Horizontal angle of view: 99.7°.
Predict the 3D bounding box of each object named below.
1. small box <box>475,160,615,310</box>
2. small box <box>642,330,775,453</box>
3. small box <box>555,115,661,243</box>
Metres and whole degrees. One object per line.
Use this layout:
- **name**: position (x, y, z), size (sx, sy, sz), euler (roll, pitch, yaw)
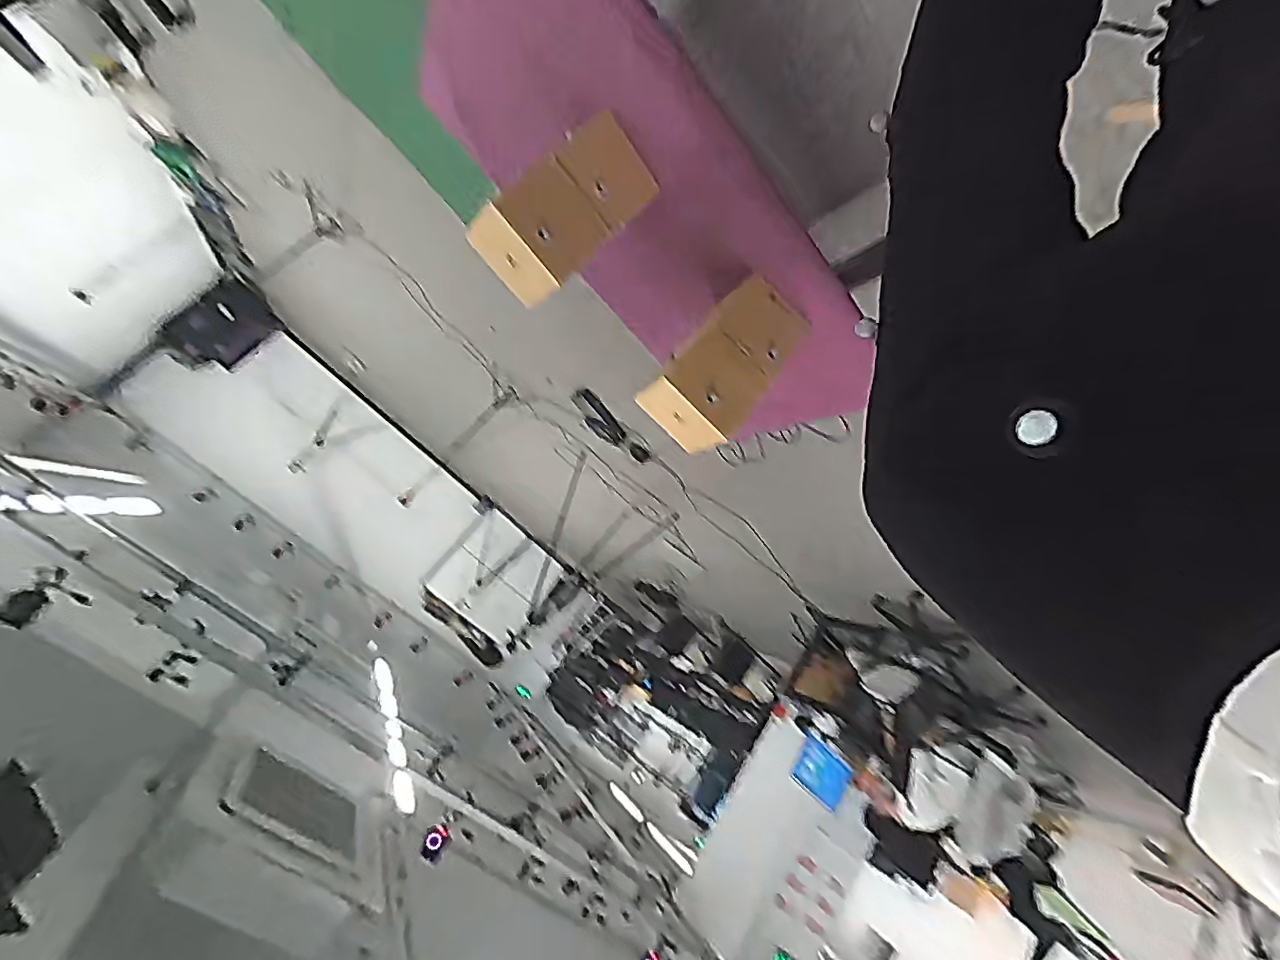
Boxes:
- **small box**: position (-0.180, -0.468, 1.046), size (0.179, 0.176, 0.168), euler (47, 157, -24)
- **small box**: position (0.141, -0.186, 1.121), size (0.179, 0.176, 0.168), euler (42, 161, -12)
- **small box**: position (-0.090, -0.590, 1.105), size (0.179, 0.176, 0.168), euler (48, 157, -24)
